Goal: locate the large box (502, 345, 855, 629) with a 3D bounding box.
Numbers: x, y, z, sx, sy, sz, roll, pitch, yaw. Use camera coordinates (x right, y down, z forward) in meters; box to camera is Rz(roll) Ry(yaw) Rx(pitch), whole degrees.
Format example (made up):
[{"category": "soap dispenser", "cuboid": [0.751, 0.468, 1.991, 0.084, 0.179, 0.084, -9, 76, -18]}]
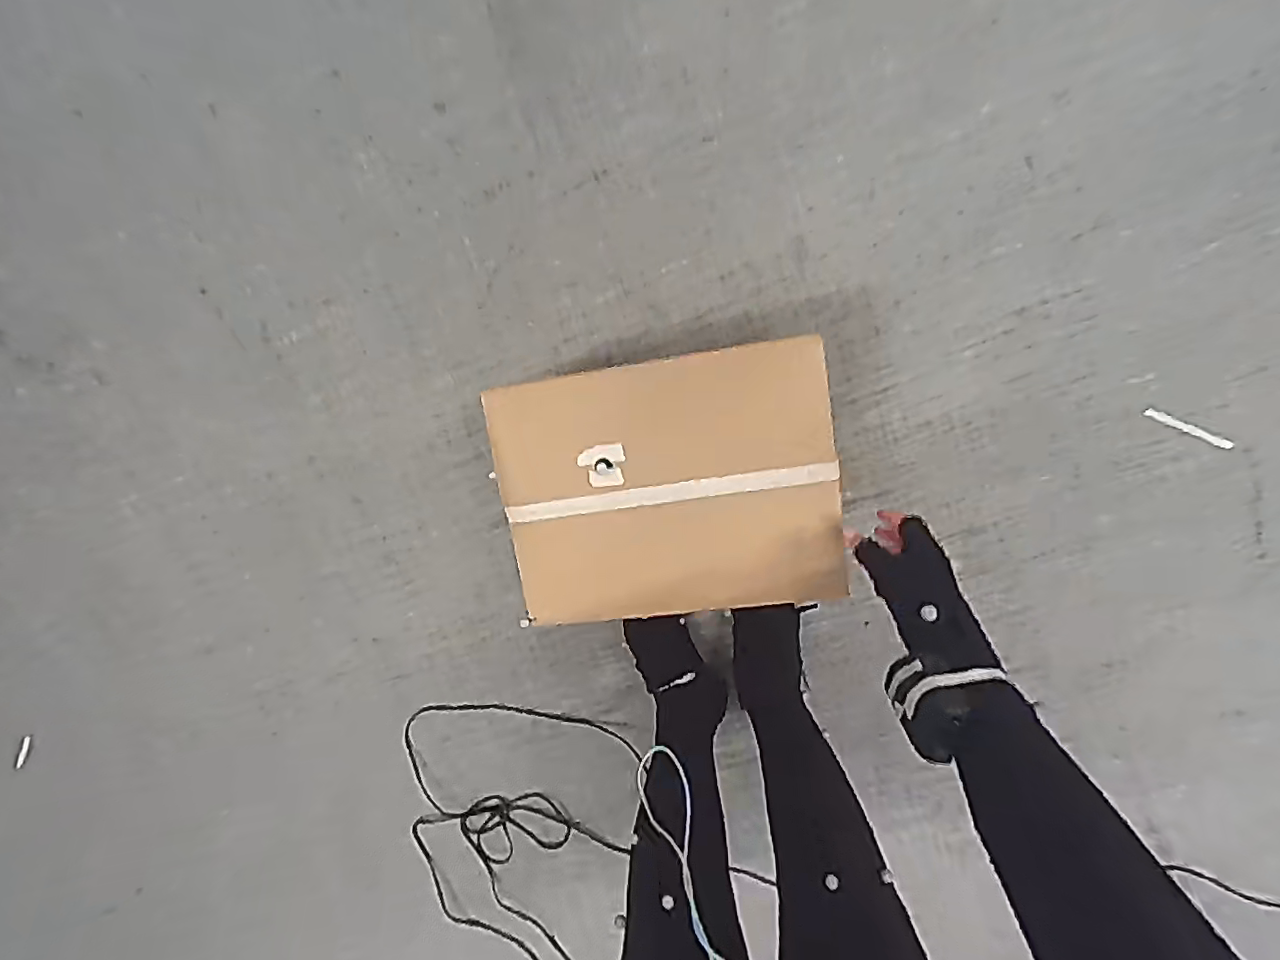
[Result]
[{"category": "large box", "cuboid": [0.068, -0.007, 0.815, 0.408, 0.320, 0.320, -9, 100, 10]}]
